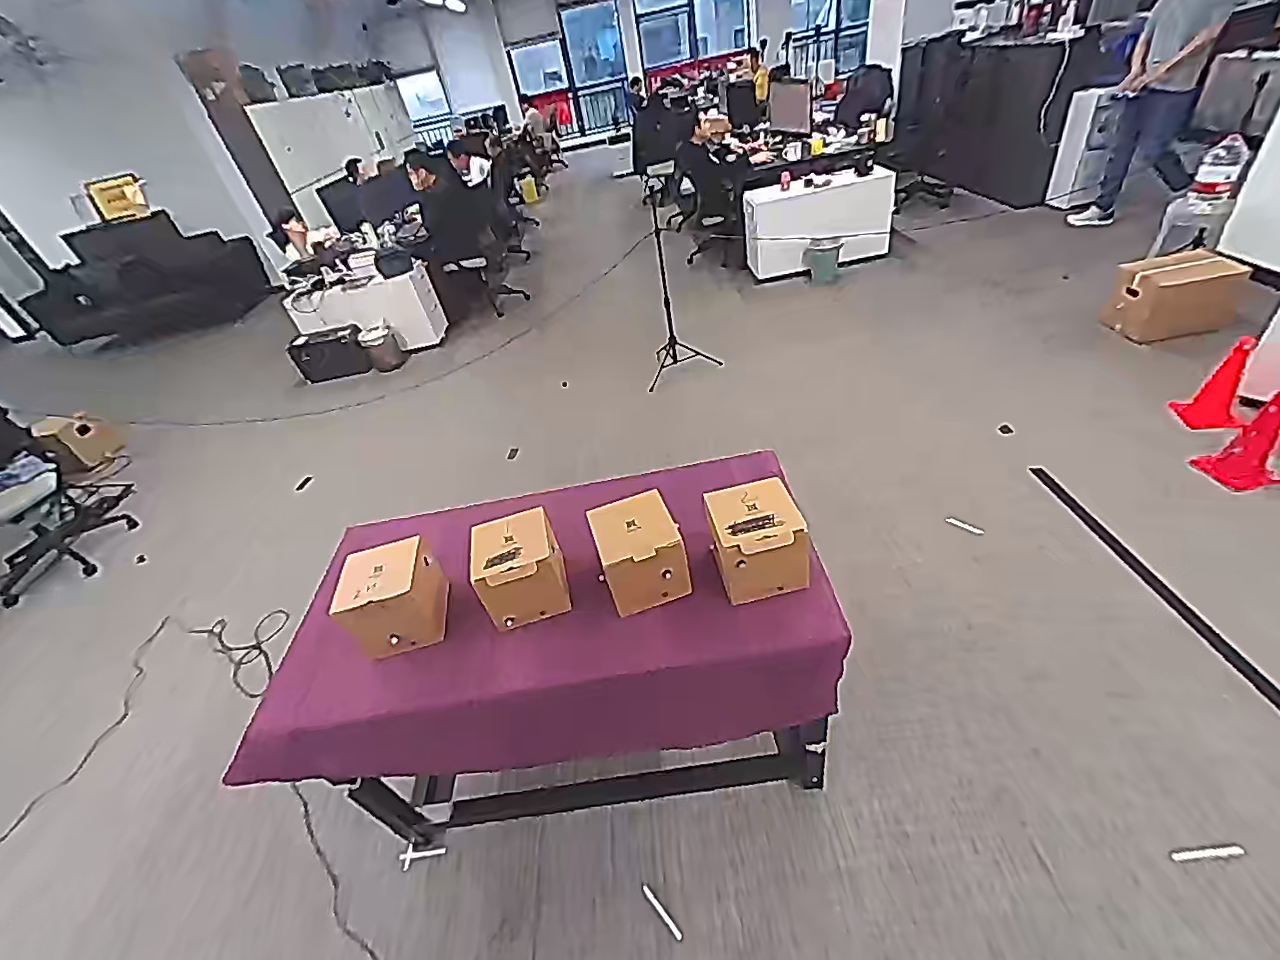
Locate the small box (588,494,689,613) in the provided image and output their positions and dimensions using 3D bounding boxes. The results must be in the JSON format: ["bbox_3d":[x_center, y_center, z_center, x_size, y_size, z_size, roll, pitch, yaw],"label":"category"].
[{"bbox_3d":[-0.001,0.164,1.168,0.168,0.176,0.179,-17,38,-6],"label":"small box"}]

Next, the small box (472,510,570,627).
[{"bbox_3d":[-0.260,0.201,1.193,0.168,0.176,0.179,-16,37,-5],"label":"small box"}]

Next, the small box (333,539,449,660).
[{"bbox_3d":[-0.536,0.263,1.192,0.168,0.176,0.179,-15,38,-3],"label":"small box"}]
